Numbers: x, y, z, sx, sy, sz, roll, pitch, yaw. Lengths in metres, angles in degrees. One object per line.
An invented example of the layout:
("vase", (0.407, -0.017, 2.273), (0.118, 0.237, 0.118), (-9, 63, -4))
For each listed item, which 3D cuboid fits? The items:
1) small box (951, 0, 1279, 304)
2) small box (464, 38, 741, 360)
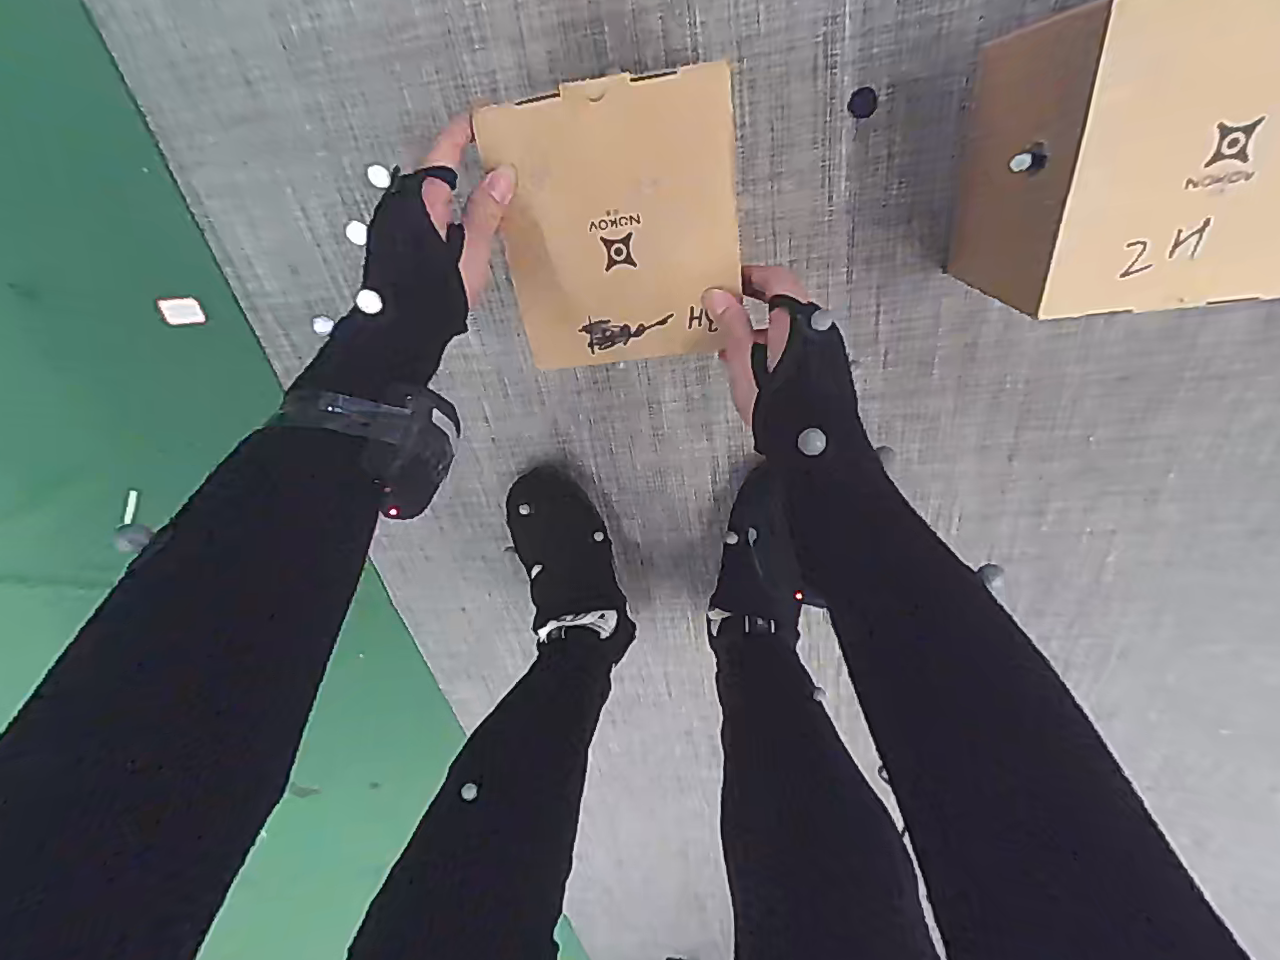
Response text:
("small box", (0.341, -0.236, 0.374), (0.168, 0.176, 0.179), (-4, 121, 9))
("small box", (-0.011, -0.212, 0.430), (0.168, 0.176, 0.179), (-4, 120, 10))
